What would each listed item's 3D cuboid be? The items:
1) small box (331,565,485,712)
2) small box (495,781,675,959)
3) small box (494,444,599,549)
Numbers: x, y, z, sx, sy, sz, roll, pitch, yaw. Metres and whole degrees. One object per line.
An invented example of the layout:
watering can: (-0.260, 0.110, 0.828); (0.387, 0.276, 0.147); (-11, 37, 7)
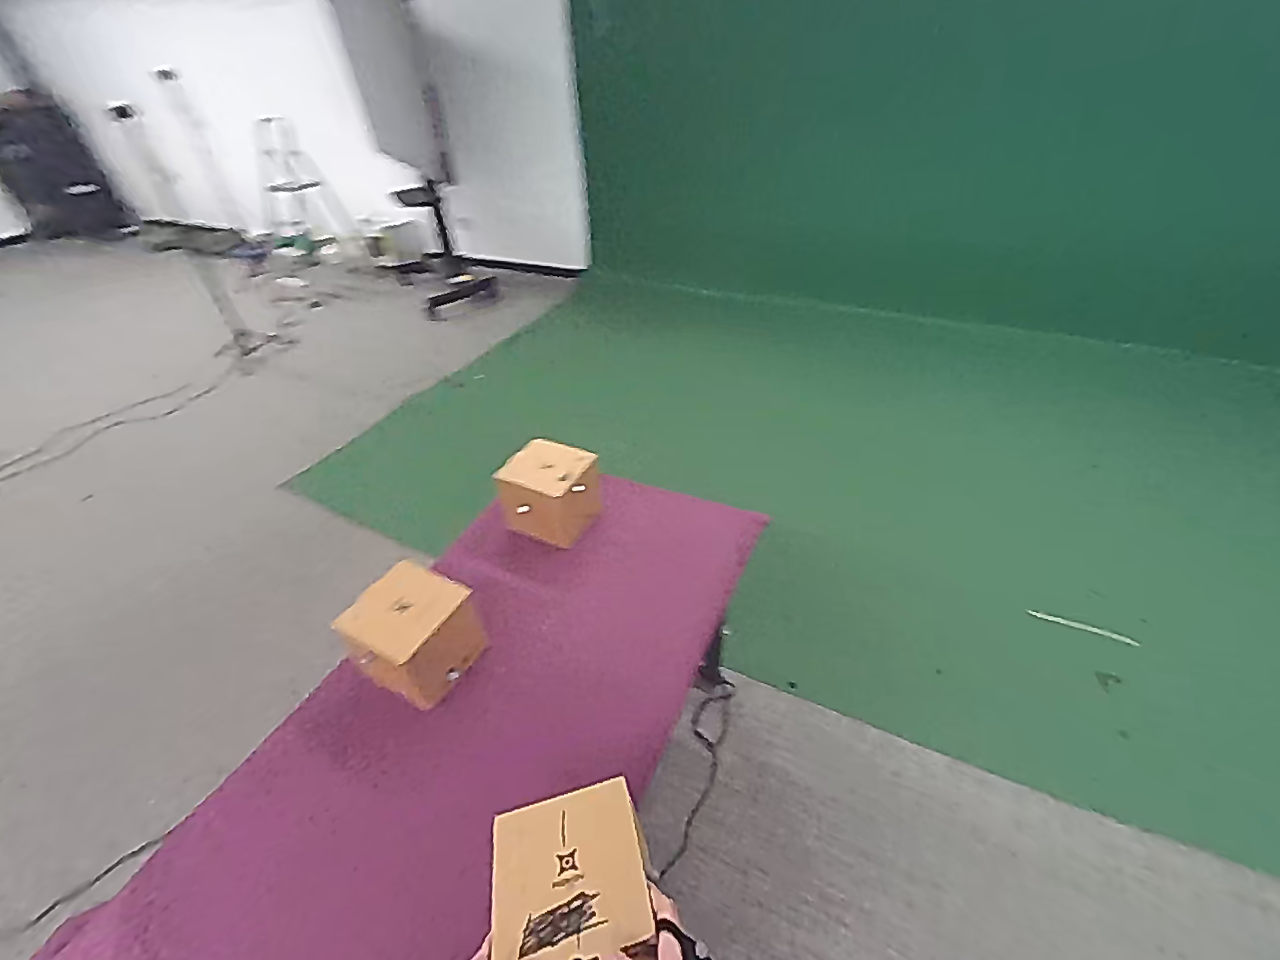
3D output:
small box: (-0.417, 0.294, 0.999); (0.179, 0.176, 0.168); (18, 44, 22)
small box: (-0.059, 0.496, 0.620); (0.168, 0.176, 0.179); (-14, 28, -6)
small box: (-0.215, 0.041, 1.292); (0.179, 0.176, 0.168); (16, 44, 22)
